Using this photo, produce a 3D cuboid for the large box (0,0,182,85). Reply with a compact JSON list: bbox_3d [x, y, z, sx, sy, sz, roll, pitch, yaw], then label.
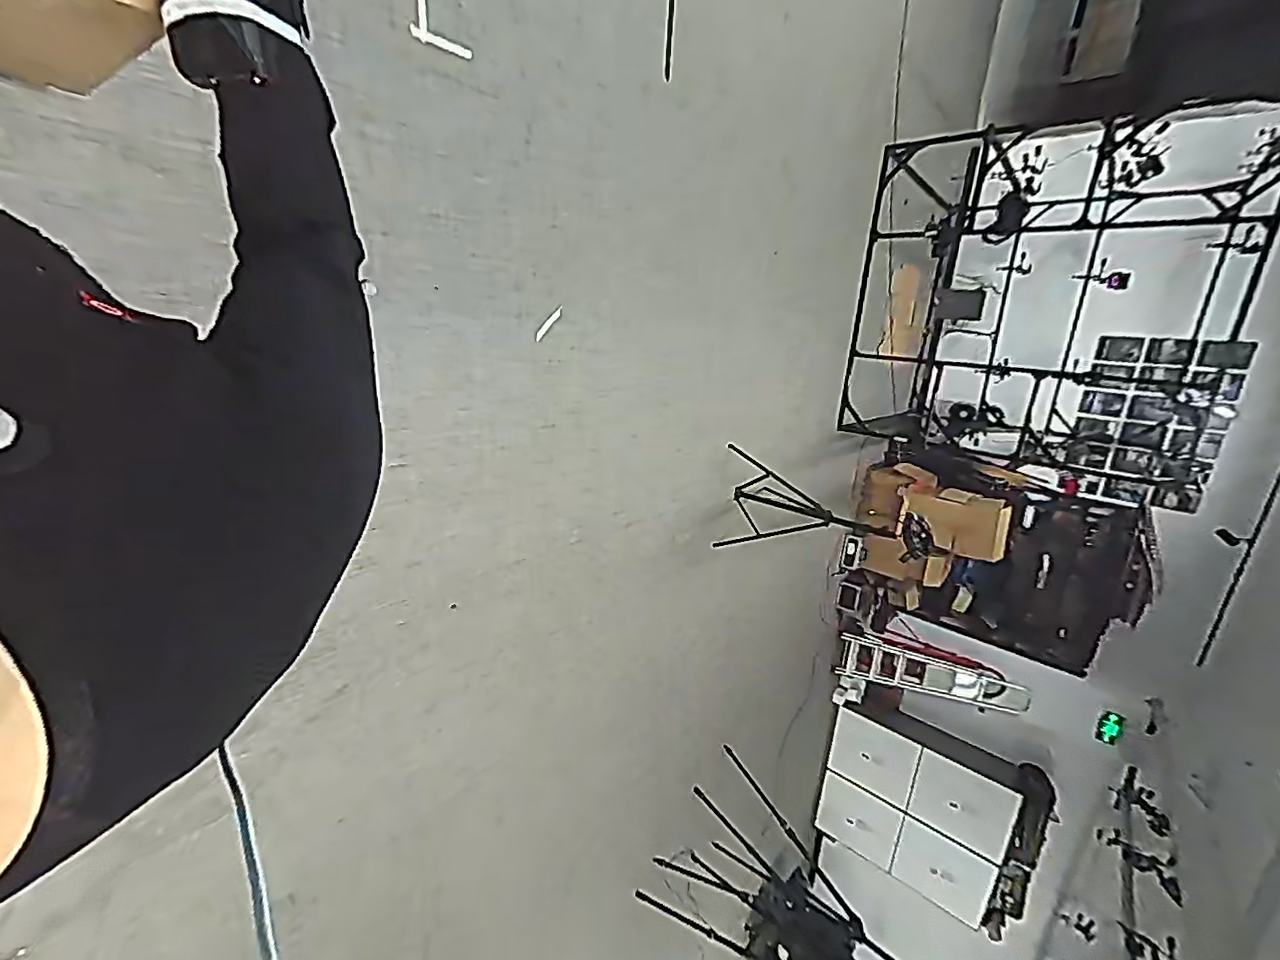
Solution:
[{"bbox_3d":[-0.537,-0.464,0.258,0.408,0.320,0.320,-15,116,-52],"label":"large box"}]
